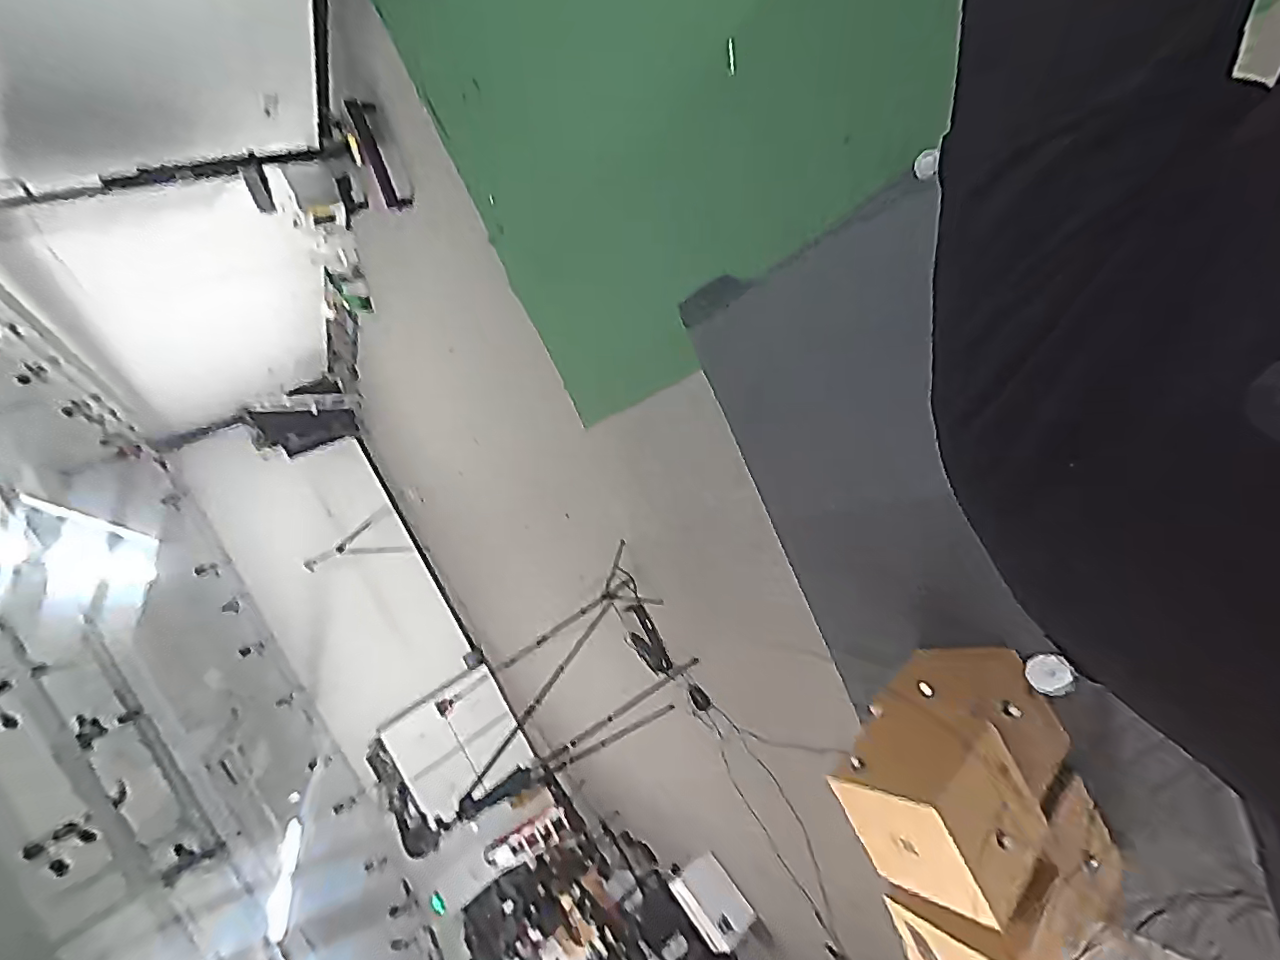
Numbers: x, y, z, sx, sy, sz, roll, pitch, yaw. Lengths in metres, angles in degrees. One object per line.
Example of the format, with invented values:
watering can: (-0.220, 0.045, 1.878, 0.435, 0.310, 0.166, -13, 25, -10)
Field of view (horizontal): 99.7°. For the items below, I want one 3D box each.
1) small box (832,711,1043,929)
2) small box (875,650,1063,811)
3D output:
small box: (0.412, 0.442, 0.742, 0.168, 0.176, 0.179, 61, 149, 2)
small box: (0.520, 0.384, 0.851, 0.168, 0.176, 0.179, 60, 149, 4)
